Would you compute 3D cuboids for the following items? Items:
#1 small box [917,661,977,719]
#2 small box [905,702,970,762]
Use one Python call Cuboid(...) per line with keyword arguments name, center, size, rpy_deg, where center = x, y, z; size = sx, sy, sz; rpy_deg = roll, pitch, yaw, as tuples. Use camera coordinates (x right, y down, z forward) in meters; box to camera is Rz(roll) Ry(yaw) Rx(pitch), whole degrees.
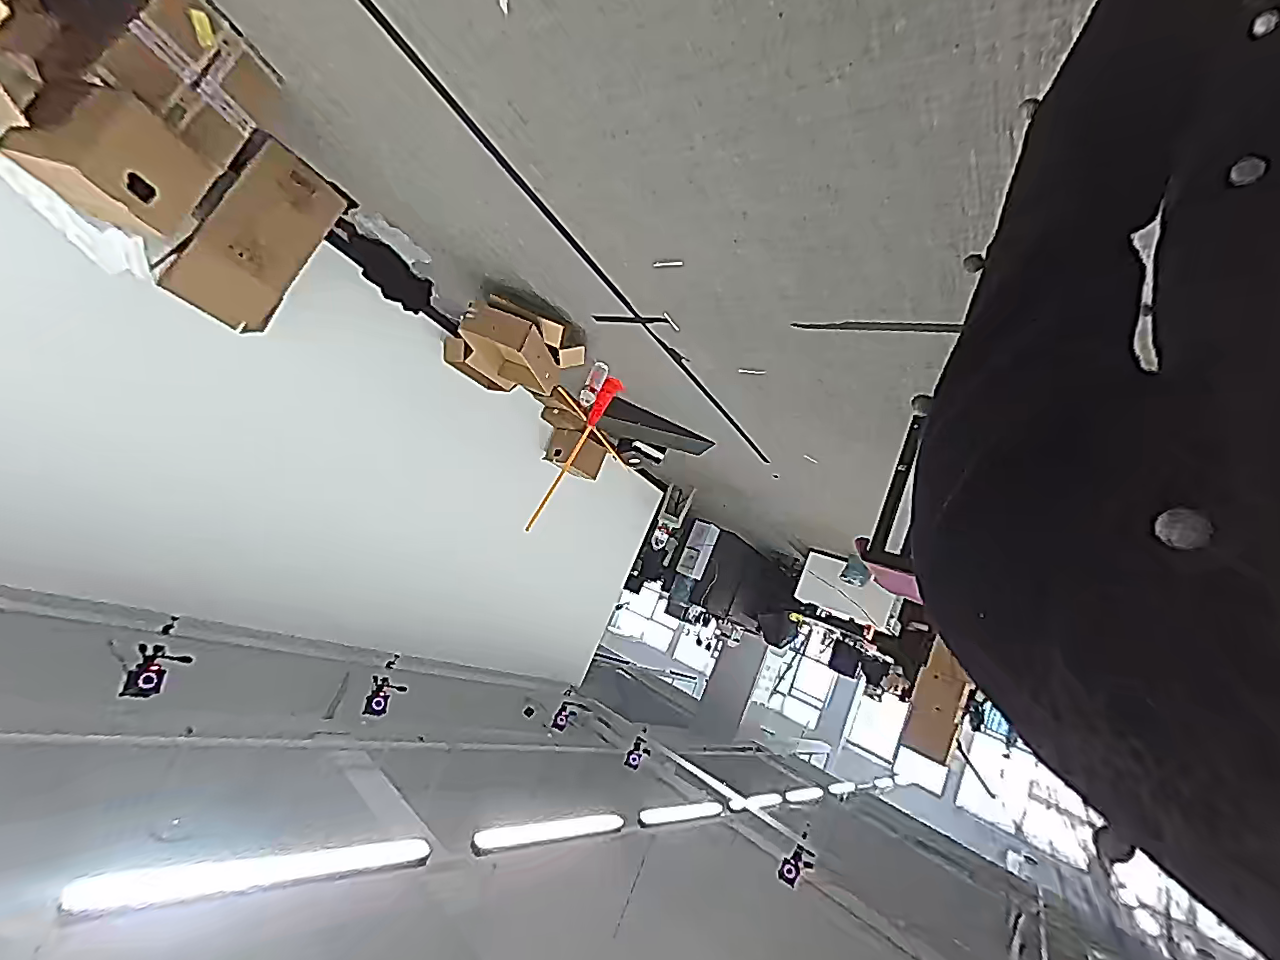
Cuboid(name="small box", center=(1.259, 0.861, 2.212), size=(0.168, 0.176, 0.179), rpy_deg=(14, 167, 41))
Cuboid(name="small box", center=(1.206, 1.015, 2.188), size=(0.179, 0.176, 0.168), rpy_deg=(14, 166, 42))
